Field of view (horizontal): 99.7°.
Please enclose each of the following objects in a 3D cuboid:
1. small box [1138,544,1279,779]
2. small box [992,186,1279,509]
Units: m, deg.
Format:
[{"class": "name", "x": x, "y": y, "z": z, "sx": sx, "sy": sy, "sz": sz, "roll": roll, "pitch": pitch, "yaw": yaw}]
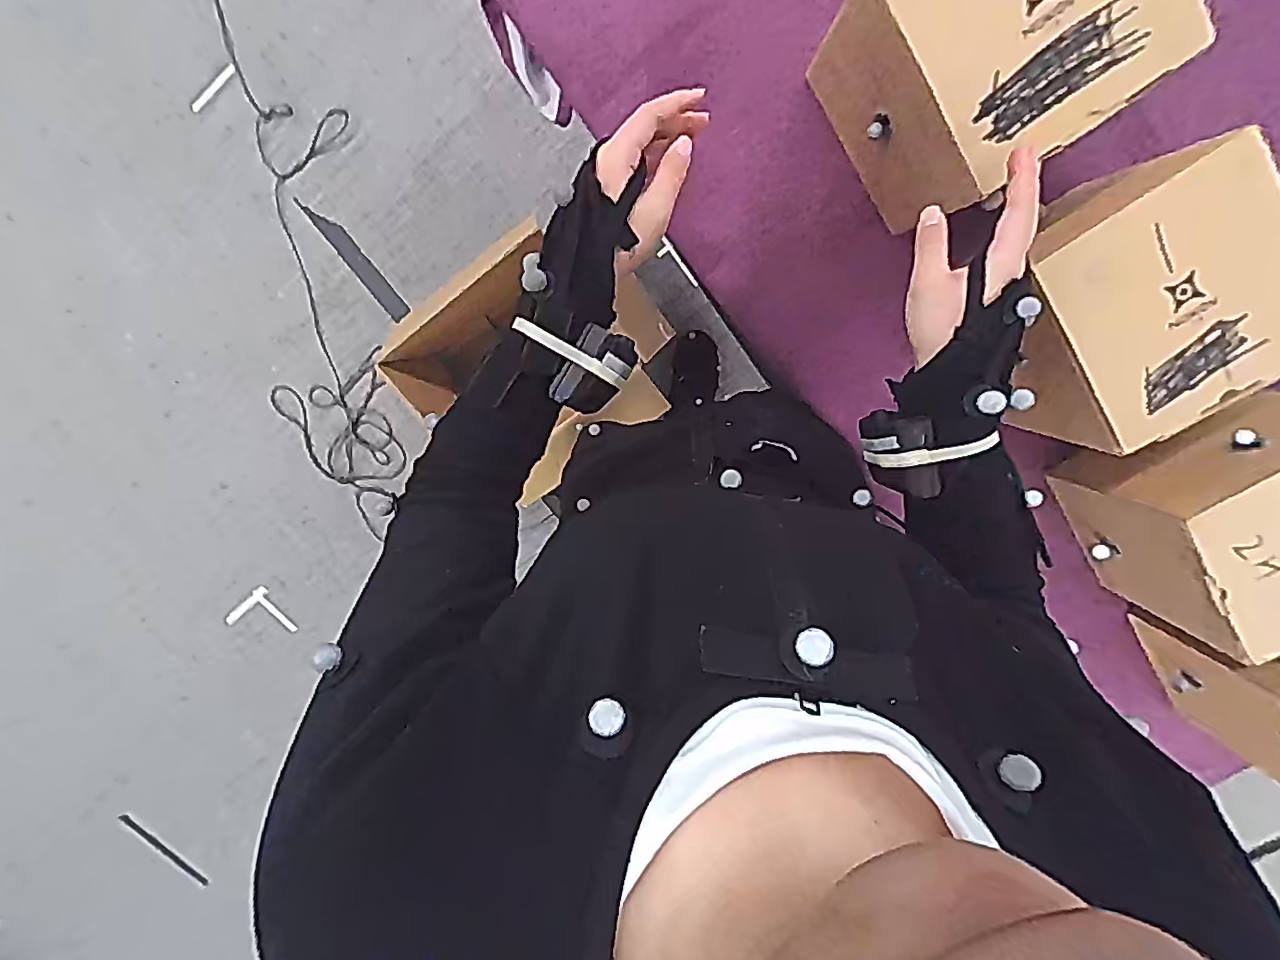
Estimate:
[{"class": "small box", "x": 0.689, "y": 0.192, "z": 0.556, "sx": 0.179, "sy": 0.176, "sz": 0.168, "roll": -33, "pitch": 101, "yaw": 10}, {"class": "small box", "x": 0.445, "y": -0.109, "z": 0.473, "sx": 0.179, "sy": 0.176, "sz": 0.168, "roll": 35, "pitch": 144, "yaw": -2}]
